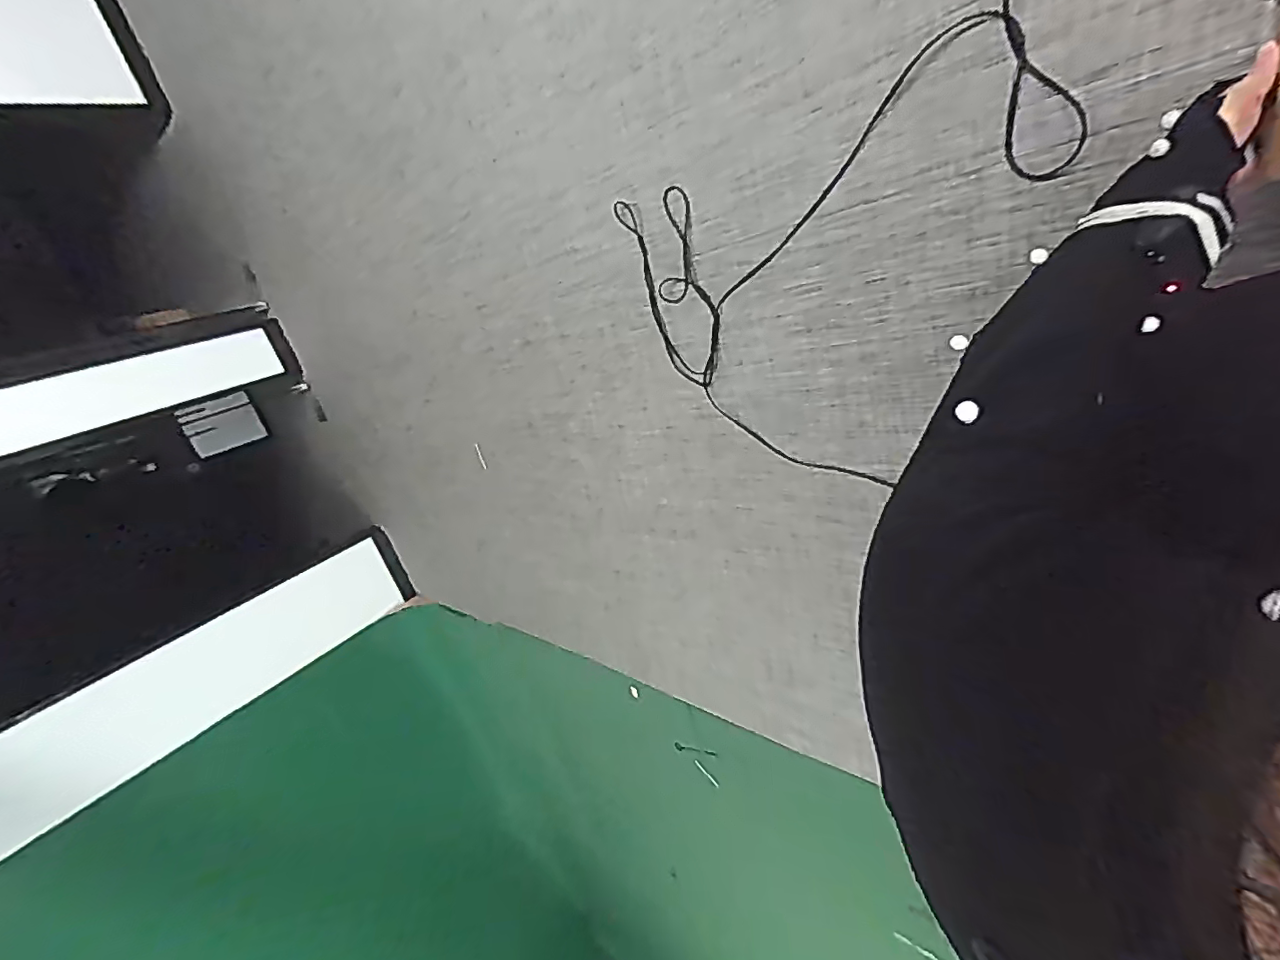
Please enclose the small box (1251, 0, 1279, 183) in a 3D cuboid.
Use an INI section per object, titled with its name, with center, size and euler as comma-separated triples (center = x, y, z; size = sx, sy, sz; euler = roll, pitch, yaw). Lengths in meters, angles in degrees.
[small box]
center = 0.520, -0.291, 0.320
size = 0.179, 0.176, 0.168
euler = -2, 111, 33
